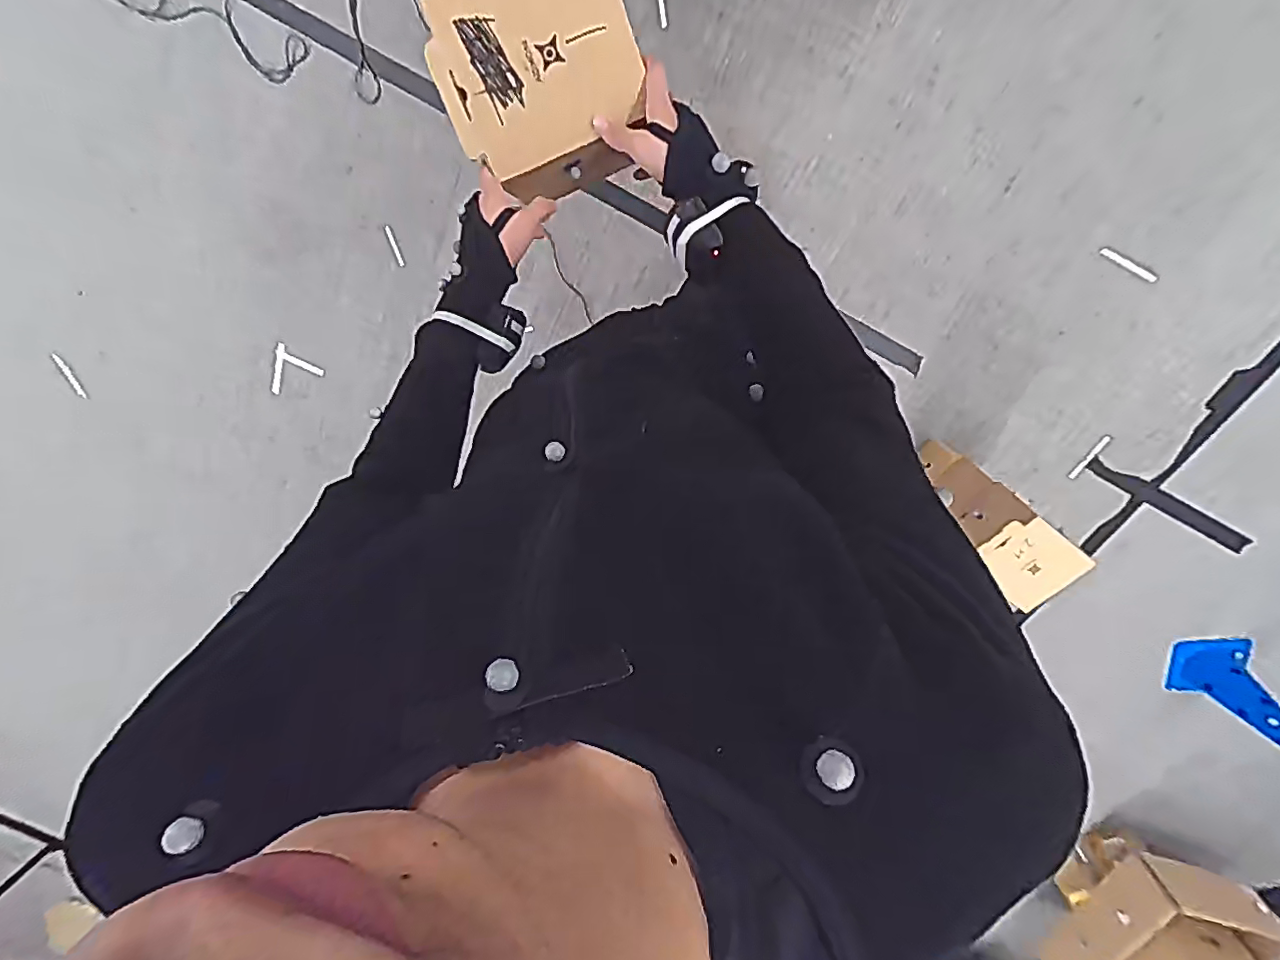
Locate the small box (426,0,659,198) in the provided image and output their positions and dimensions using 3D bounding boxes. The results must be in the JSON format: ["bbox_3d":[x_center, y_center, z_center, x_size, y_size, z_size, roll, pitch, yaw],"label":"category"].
[{"bbox_3d":[-0.086,-0.425,0.575,0.179,0.176,0.168,-20,107,7],"label":"small box"}]

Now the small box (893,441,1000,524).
[{"bbox_3d":[0.833,0.011,1.483,0.179,0.176,0.168,30,114,-6],"label":"small box"}]

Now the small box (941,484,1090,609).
[{"bbox_3d":[0.806,0.139,1.180,0.179,0.176,0.168,36,114,-8],"label":"small box"}]
